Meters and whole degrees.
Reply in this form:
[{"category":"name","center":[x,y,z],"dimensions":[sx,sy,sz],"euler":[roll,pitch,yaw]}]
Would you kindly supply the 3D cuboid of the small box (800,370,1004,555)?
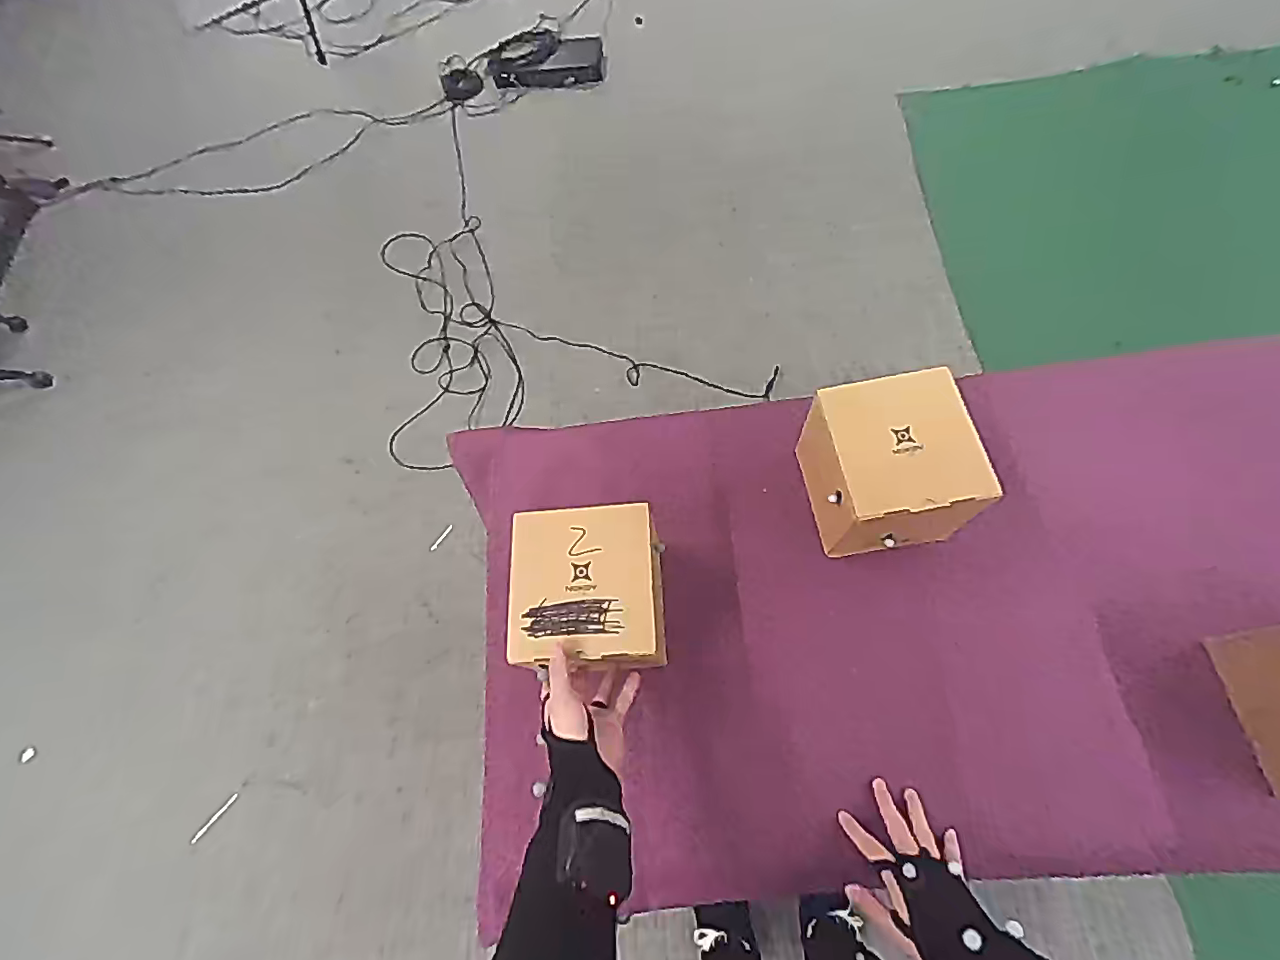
[{"category":"small box","center":[0.321,-0.016,0.710],"dimensions":[0.168,0.176,0.179],"euler":[-10,68,2]}]
